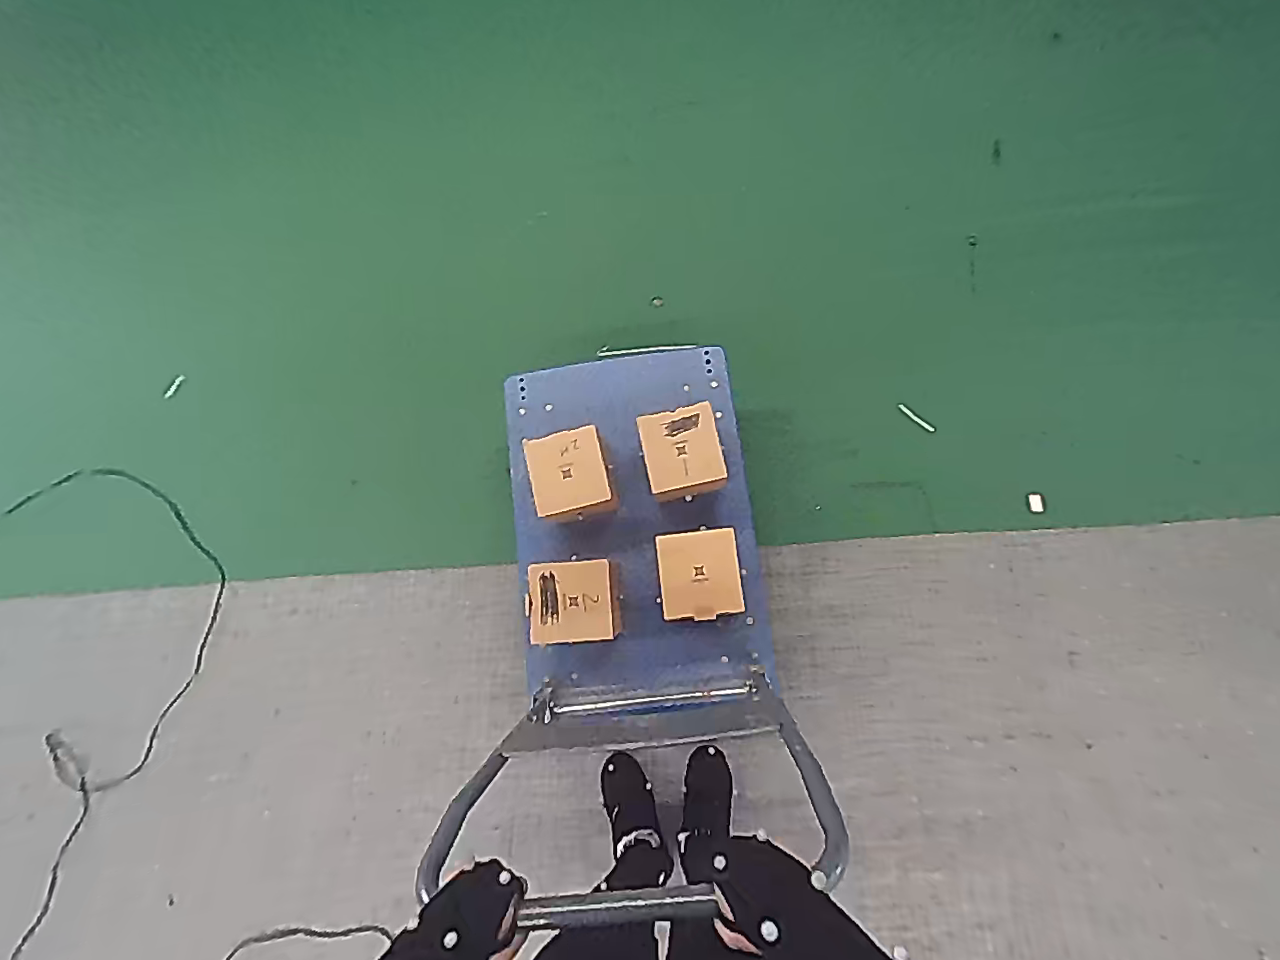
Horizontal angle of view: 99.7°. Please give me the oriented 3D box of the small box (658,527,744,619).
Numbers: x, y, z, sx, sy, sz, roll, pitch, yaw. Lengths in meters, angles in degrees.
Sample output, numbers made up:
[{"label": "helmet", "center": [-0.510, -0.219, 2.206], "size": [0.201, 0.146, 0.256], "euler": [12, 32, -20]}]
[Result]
[{"label": "small box", "center": [0.129, 0.206, 1.197], "size": [0.168, 0.176, 0.179], "euler": [-7, 81, 3]}]

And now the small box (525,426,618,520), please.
[{"label": "small box", "center": [-0.151, -0.008, 1.254], "size": [0.168, 0.176, 0.179], "euler": [-14, 80, 1]}]

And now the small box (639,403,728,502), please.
[{"label": "small box", "center": [0.098, -0.057, 1.243], "size": [0.168, 0.176, 0.179], "euler": [-12, 81, 3]}]
